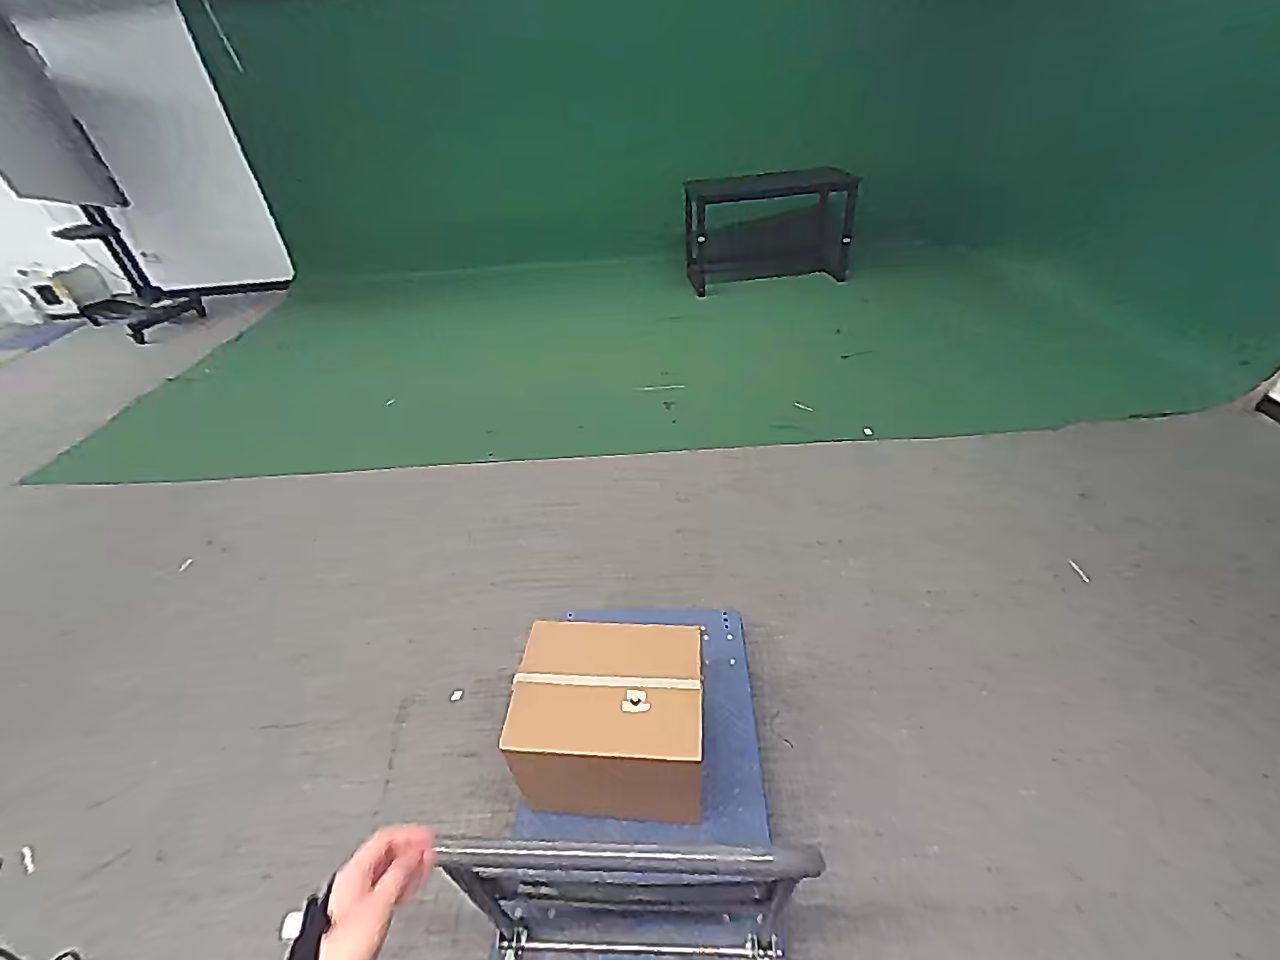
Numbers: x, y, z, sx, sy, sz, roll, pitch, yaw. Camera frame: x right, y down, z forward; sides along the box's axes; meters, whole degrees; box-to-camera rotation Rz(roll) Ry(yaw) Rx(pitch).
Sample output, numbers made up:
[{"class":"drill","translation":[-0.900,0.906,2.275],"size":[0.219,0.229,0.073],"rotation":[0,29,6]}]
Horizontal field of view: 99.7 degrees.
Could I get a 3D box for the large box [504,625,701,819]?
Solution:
[{"class":"large box","translation":[-0.065,0.567,1.279],"size":[0.408,0.320,0.320],"rotation":[1,38,5]}]
